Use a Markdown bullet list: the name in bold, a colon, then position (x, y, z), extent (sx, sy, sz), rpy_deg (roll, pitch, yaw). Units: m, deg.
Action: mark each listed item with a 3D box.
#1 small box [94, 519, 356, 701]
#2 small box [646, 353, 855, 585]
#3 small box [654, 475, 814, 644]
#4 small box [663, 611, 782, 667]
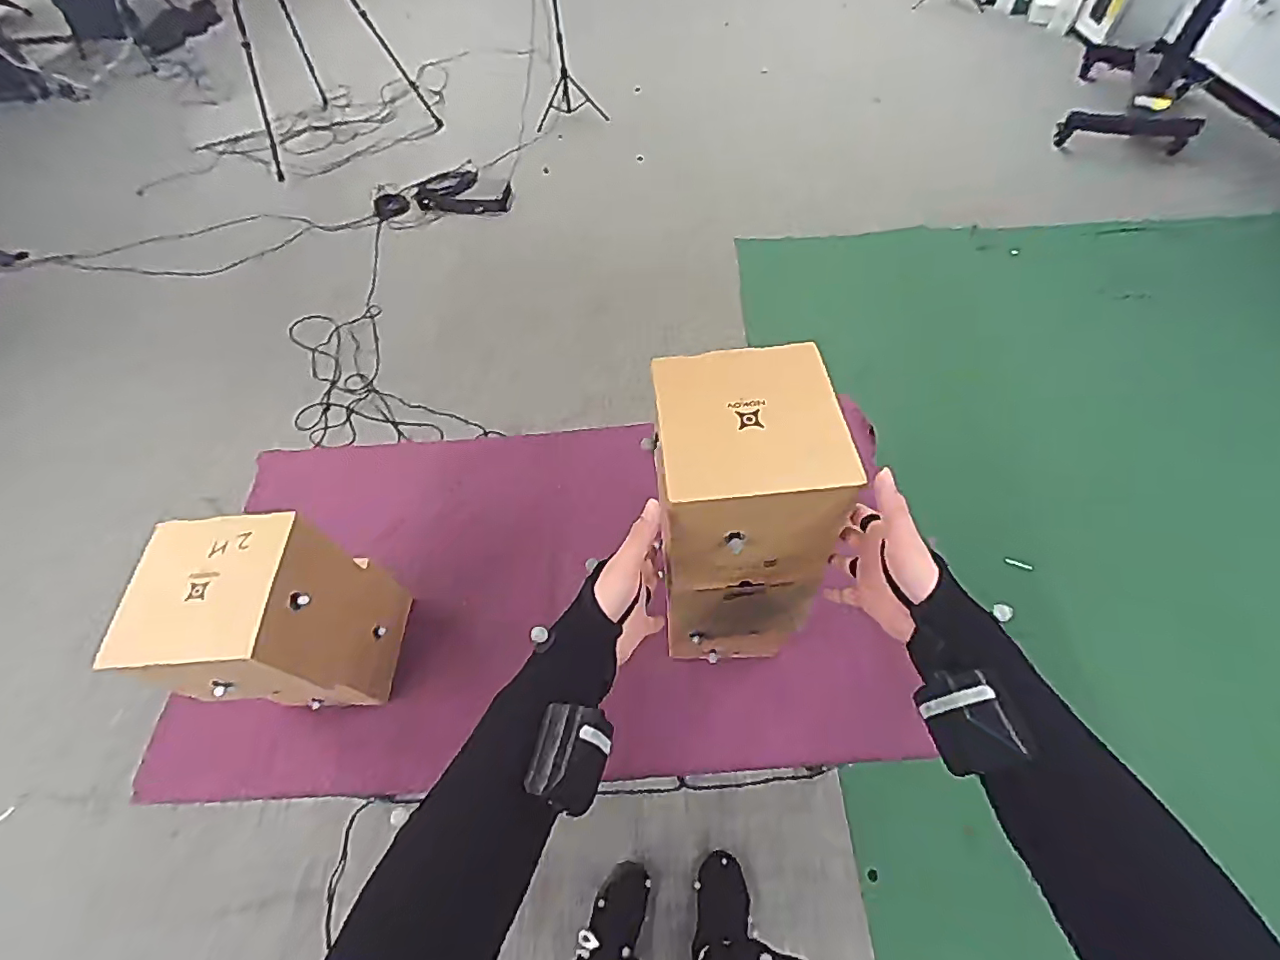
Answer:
- **small box**: position (-0.482, 0.167, 0.667), extent (0.168, 0.176, 0.179), rpy_deg (-4, 57, 0)
- **small box**: position (0.099, -0.002, 0.556), extent (0.168, 0.176, 0.179), rpy_deg (-6, 54, 1)
- **small box**: position (0.108, 0.099, 0.684), extent (0.168, 0.176, 0.179), rpy_deg (-4, 54, 2)
- **small box**: position (0.118, 0.175, 0.830), extent (0.168, 0.176, 0.179), rpy_deg (-3, 56, 3)
